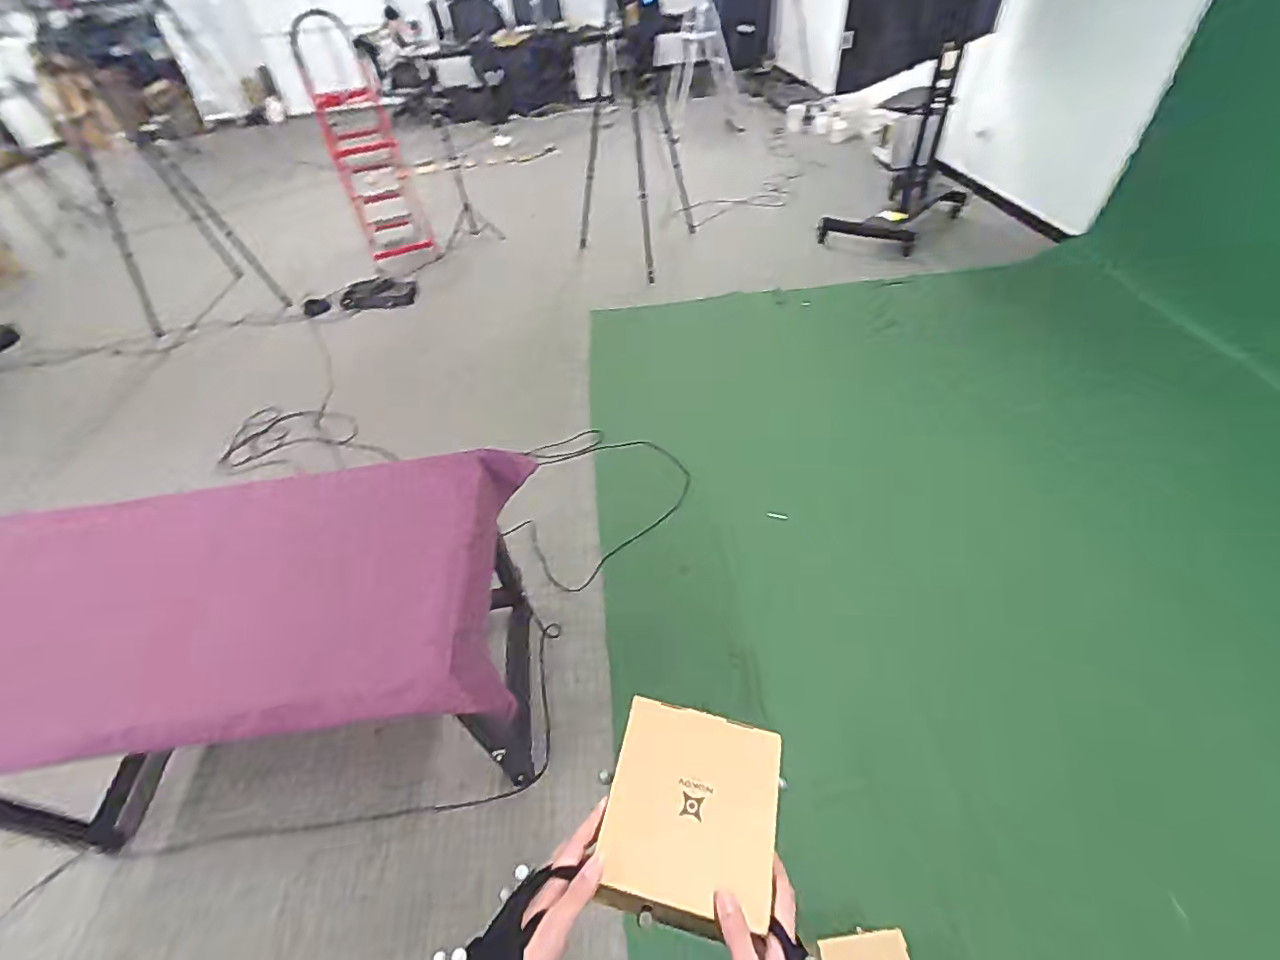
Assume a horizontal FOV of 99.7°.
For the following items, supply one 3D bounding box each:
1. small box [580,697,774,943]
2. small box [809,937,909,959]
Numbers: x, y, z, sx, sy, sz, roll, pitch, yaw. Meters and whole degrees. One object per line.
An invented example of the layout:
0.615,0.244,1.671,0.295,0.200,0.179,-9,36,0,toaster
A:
0.042,0.372,0.590,0.168,0.176,0.179,11,46,7,small box
0.457,1.046,1.094,0.179,0.176,0.168,-8,45,0,small box
